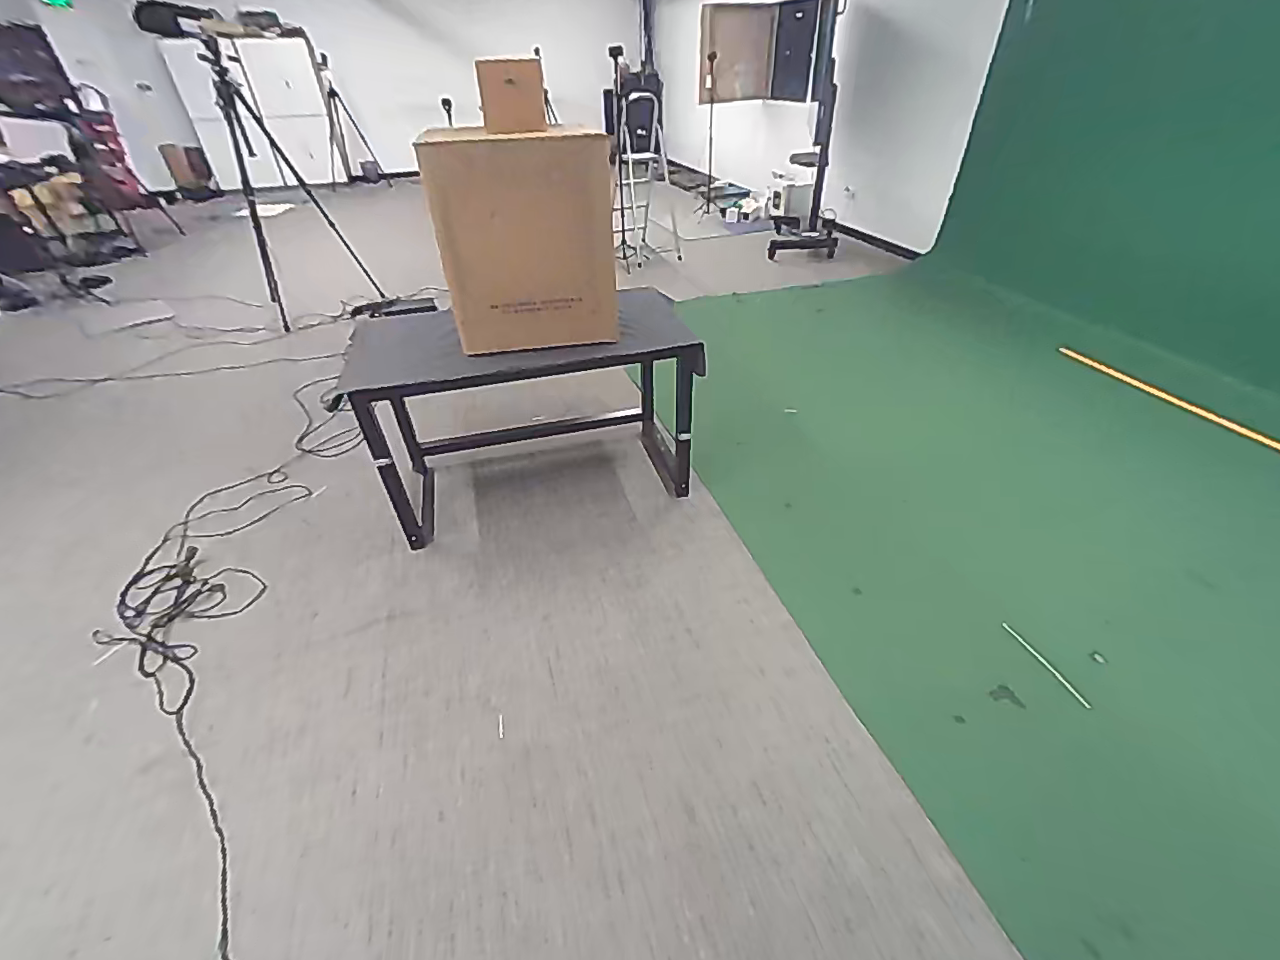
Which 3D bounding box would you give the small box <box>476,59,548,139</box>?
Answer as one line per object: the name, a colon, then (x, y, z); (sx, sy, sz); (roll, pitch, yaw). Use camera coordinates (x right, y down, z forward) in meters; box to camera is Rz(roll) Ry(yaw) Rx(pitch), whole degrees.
small box: (-0.357, -1.081, 1.532); (0.179, 0.176, 0.168); (-8, 41, -8)
